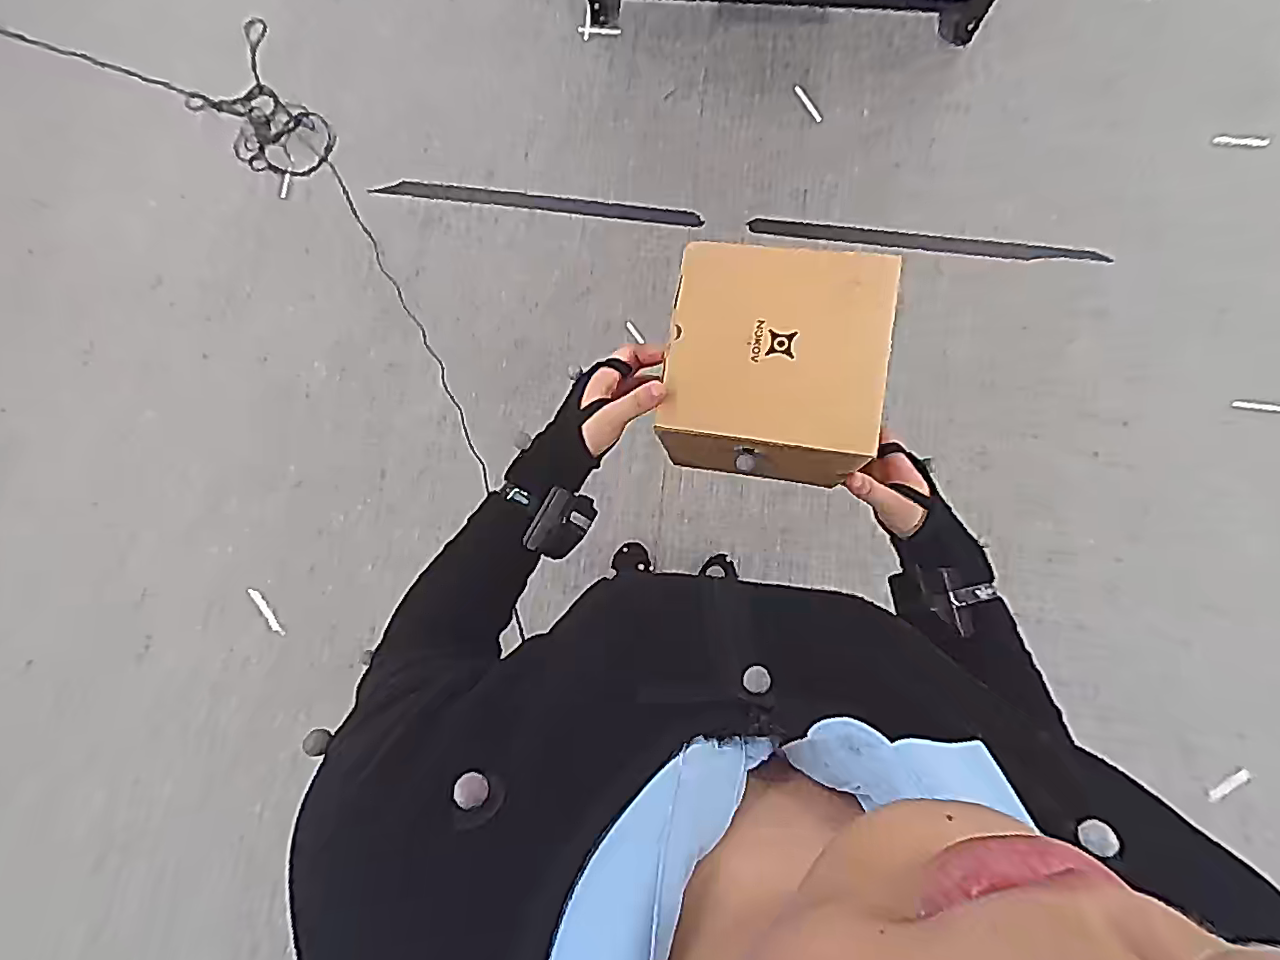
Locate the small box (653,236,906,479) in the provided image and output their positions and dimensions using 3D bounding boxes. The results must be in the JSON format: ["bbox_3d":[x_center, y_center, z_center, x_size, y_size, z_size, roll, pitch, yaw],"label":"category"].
[{"bbox_3d":[0.122,-0.100,0.505,0.179,0.176,0.168,9,83,12],"label":"small box"}]

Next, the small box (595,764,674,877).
[{"bbox_3d":[-0.012,0.838,1.350,0.168,0.176,0.179,9,84,3],"label":"small box"}]
